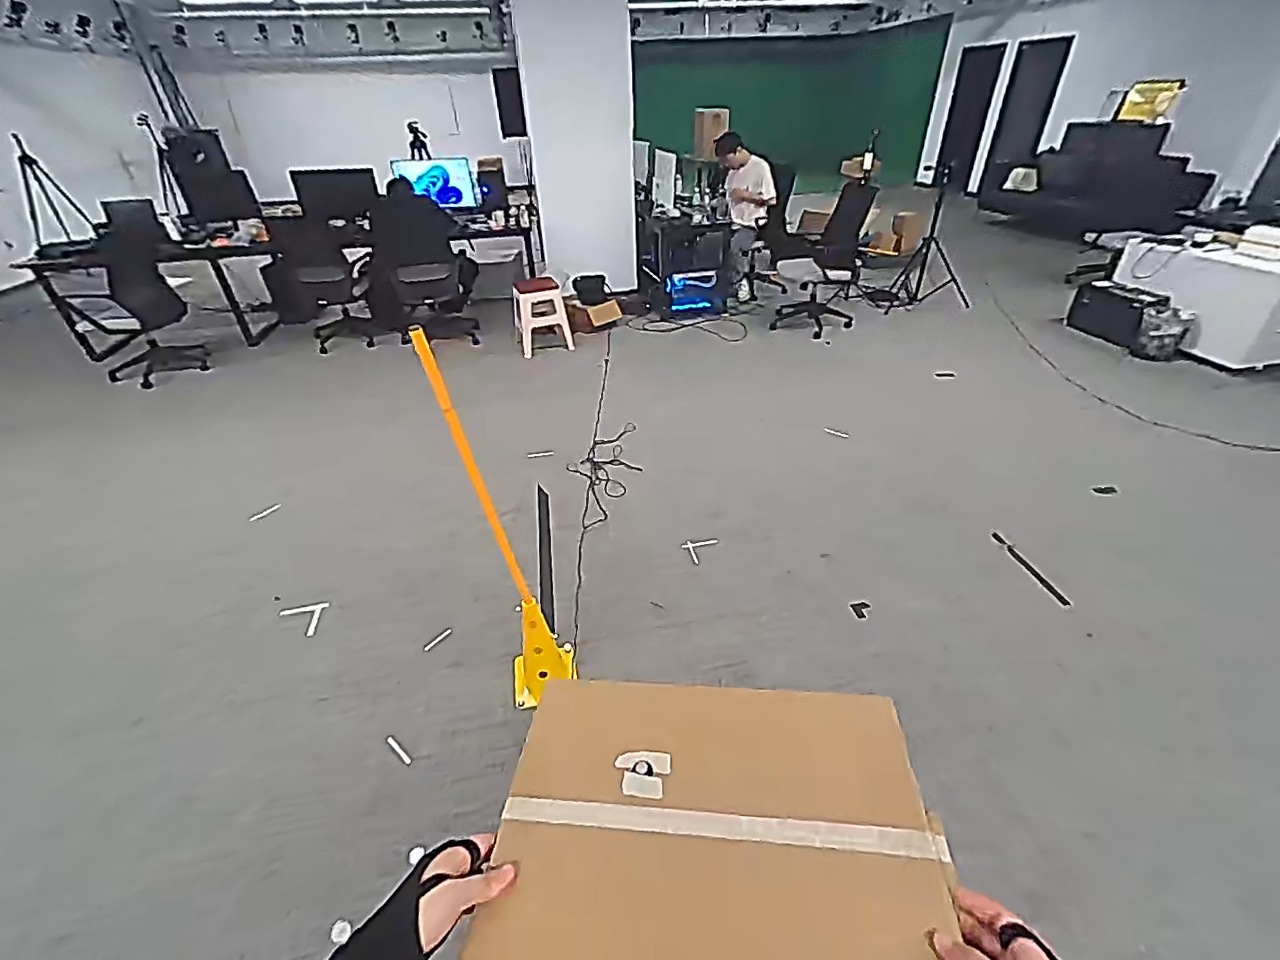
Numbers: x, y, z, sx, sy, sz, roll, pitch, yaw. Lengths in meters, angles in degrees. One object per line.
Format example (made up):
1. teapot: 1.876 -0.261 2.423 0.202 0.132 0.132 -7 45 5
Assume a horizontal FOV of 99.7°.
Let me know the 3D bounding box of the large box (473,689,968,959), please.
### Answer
1. large box: 0.089 0.459 0.597 0.408 0.320 0.320 -2 31 10
